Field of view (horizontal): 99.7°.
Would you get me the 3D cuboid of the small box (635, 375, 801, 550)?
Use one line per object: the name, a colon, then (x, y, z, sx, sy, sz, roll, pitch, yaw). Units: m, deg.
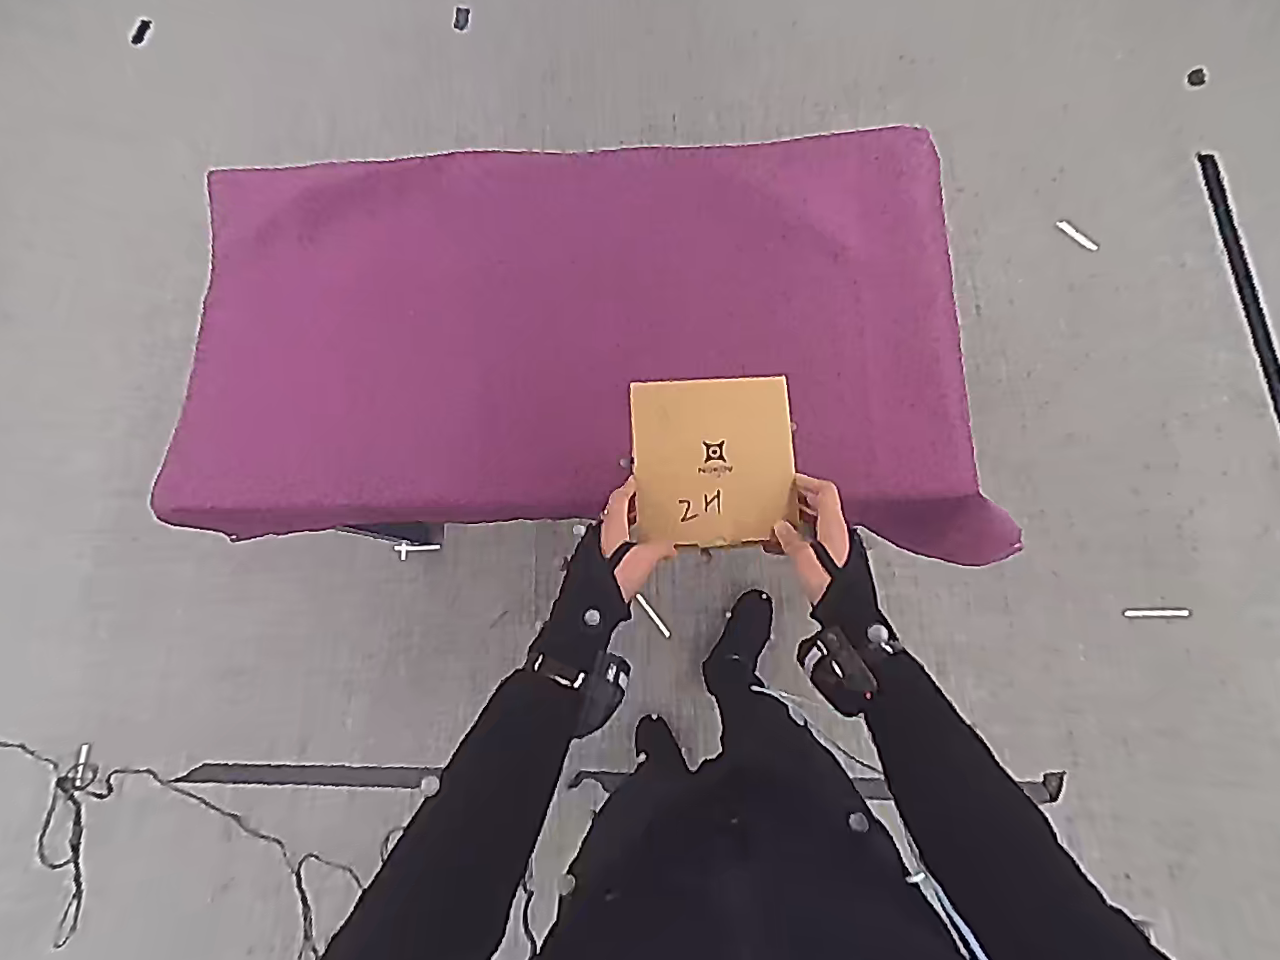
small box: (0.079, -0.011, 0.638, 0.168, 0.176, 0.179, -3, 81, 0)
